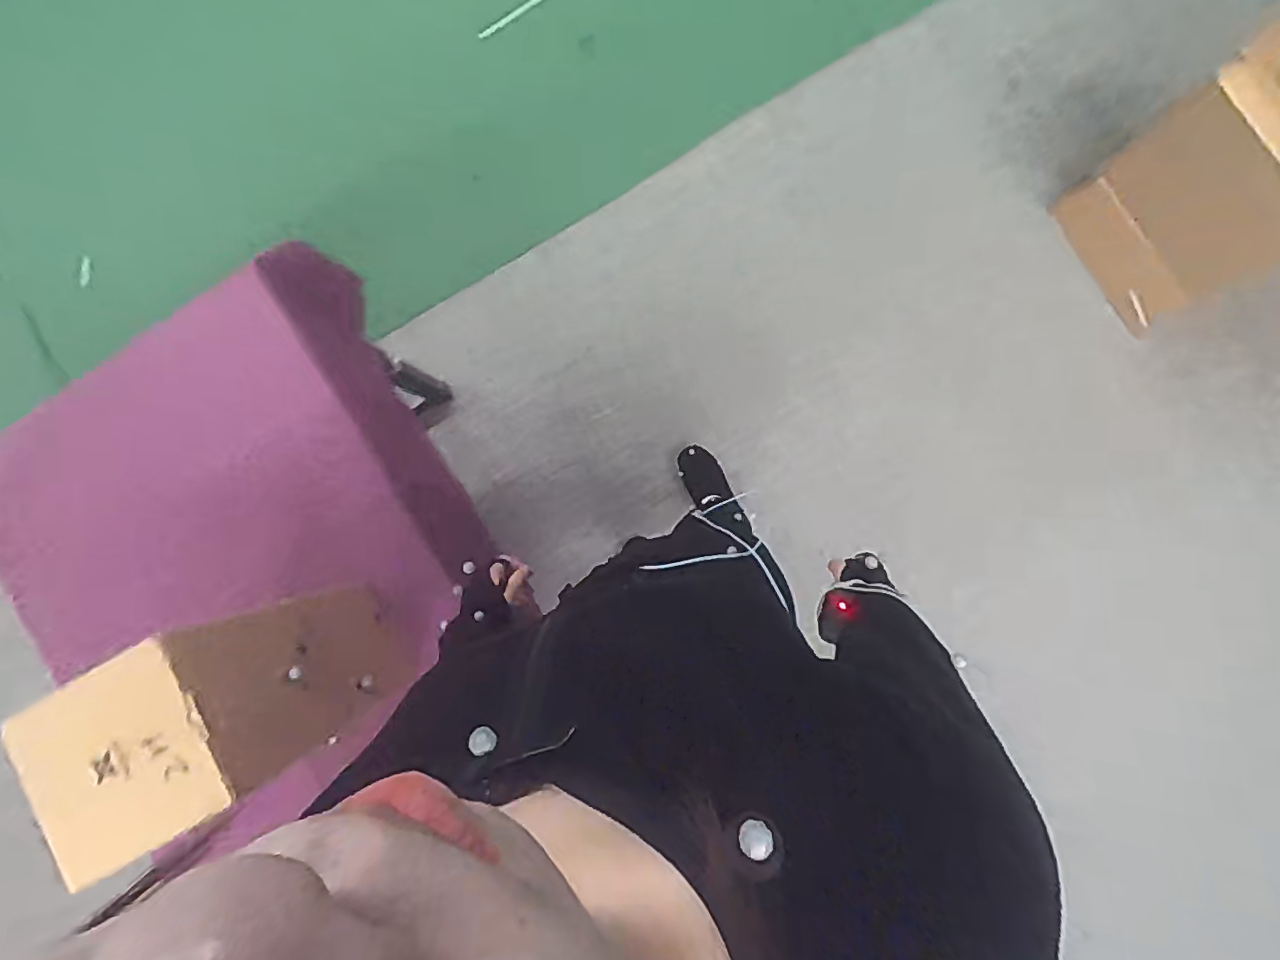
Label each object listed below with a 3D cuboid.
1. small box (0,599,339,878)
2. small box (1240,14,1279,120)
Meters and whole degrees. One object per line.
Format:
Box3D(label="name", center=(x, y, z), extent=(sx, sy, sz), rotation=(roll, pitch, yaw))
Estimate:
Box3D(label="small box", center=(-0.463, 0.245, 0.559), extent=(0.179, 0.176, 0.168), rotation=(-29, 87, 2))
Box3D(label="small box", center=(1.236, -0.789, 0.951), extent=(0.179, 0.176, 0.168), rotation=(-30, 87, 2))
